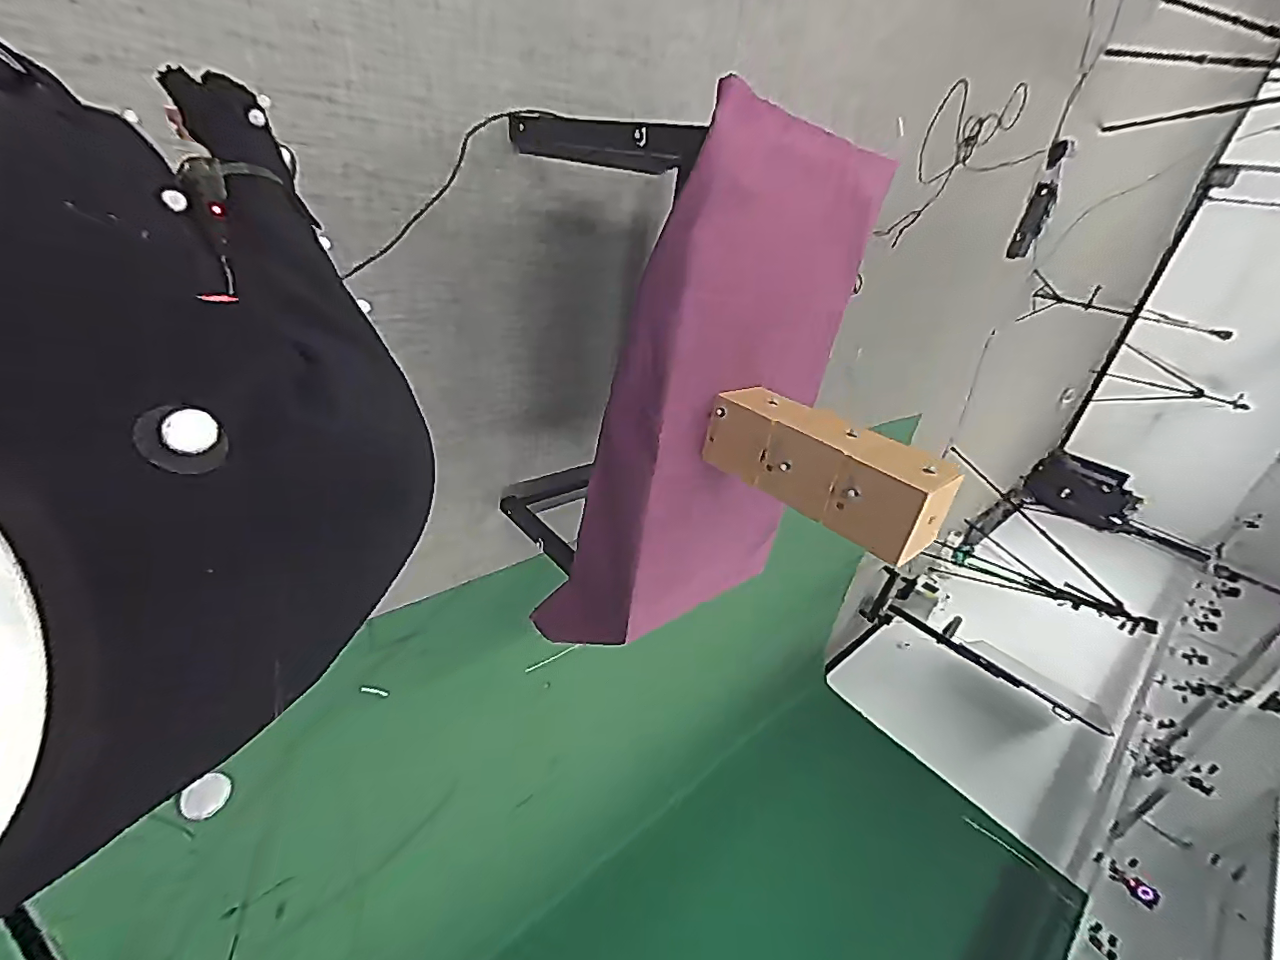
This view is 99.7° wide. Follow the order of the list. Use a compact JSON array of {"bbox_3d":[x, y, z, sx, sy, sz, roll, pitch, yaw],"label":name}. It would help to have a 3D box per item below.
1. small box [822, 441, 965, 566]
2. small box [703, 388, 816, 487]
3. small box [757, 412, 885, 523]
[{"bbox_3d":[0.492,0.036,1.064,0.179,0.176,0.168,-16,126,-39],"label":"small box"},{"bbox_3d":[0.272,-0.105,1.262,0.179,0.176,0.168,-16,127,-39],"label":"small box"},{"bbox_3d":[0.384,-0.036,1.163,0.179,0.176,0.168,-15,126,-39],"label":"small box"}]
